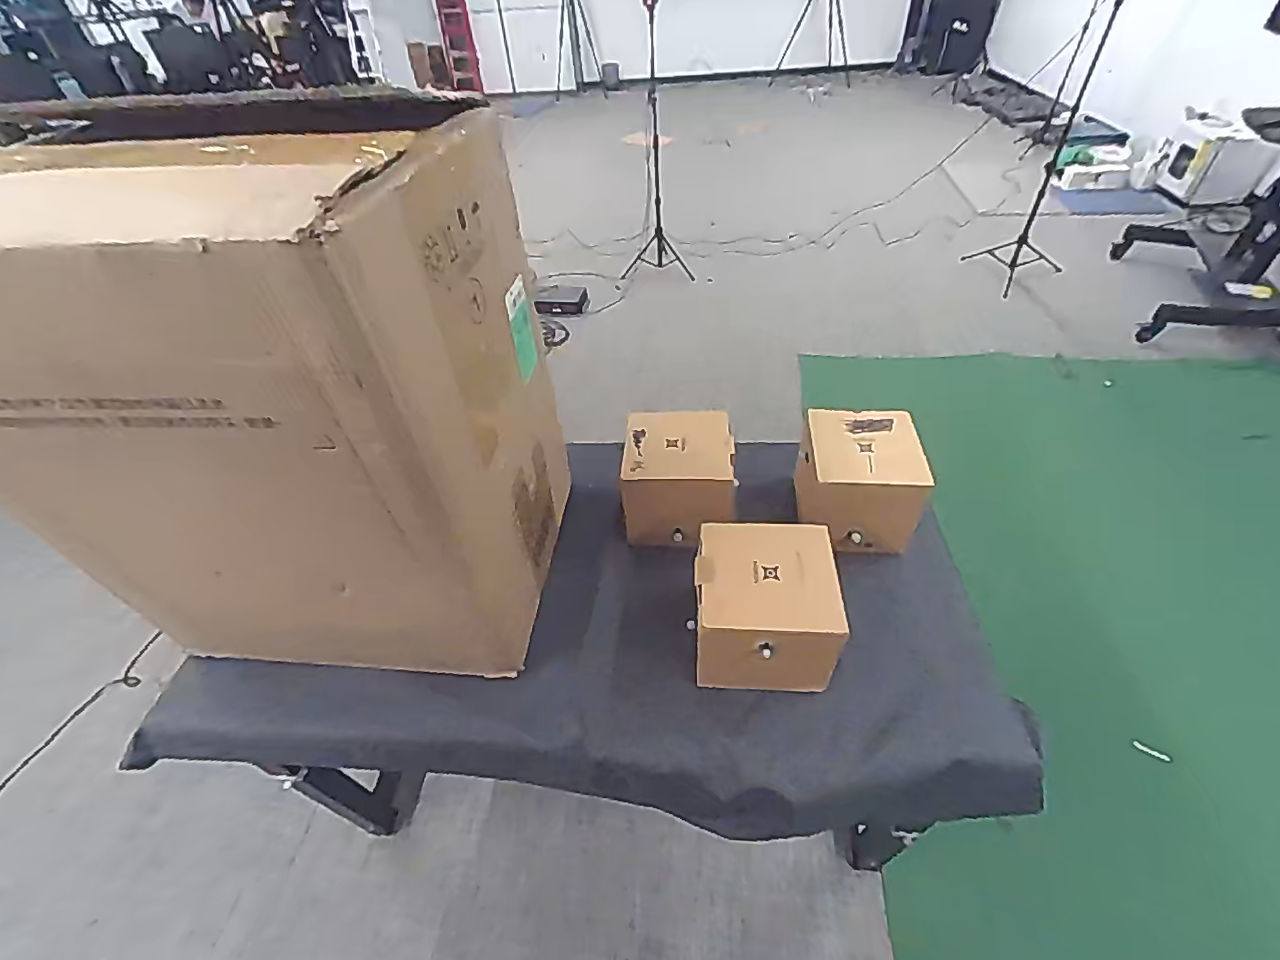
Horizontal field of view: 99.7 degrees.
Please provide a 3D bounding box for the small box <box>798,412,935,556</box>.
[{"bbox_3d":[0.366,0.005,0.913,0.168,0.176,0.179,2,46,8],"label":"small box"}]

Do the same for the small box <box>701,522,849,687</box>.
[{"bbox_3d":[0.175,0.176,0.759,0.179,0.176,0.168,1,46,5],"label":"small box"}]
